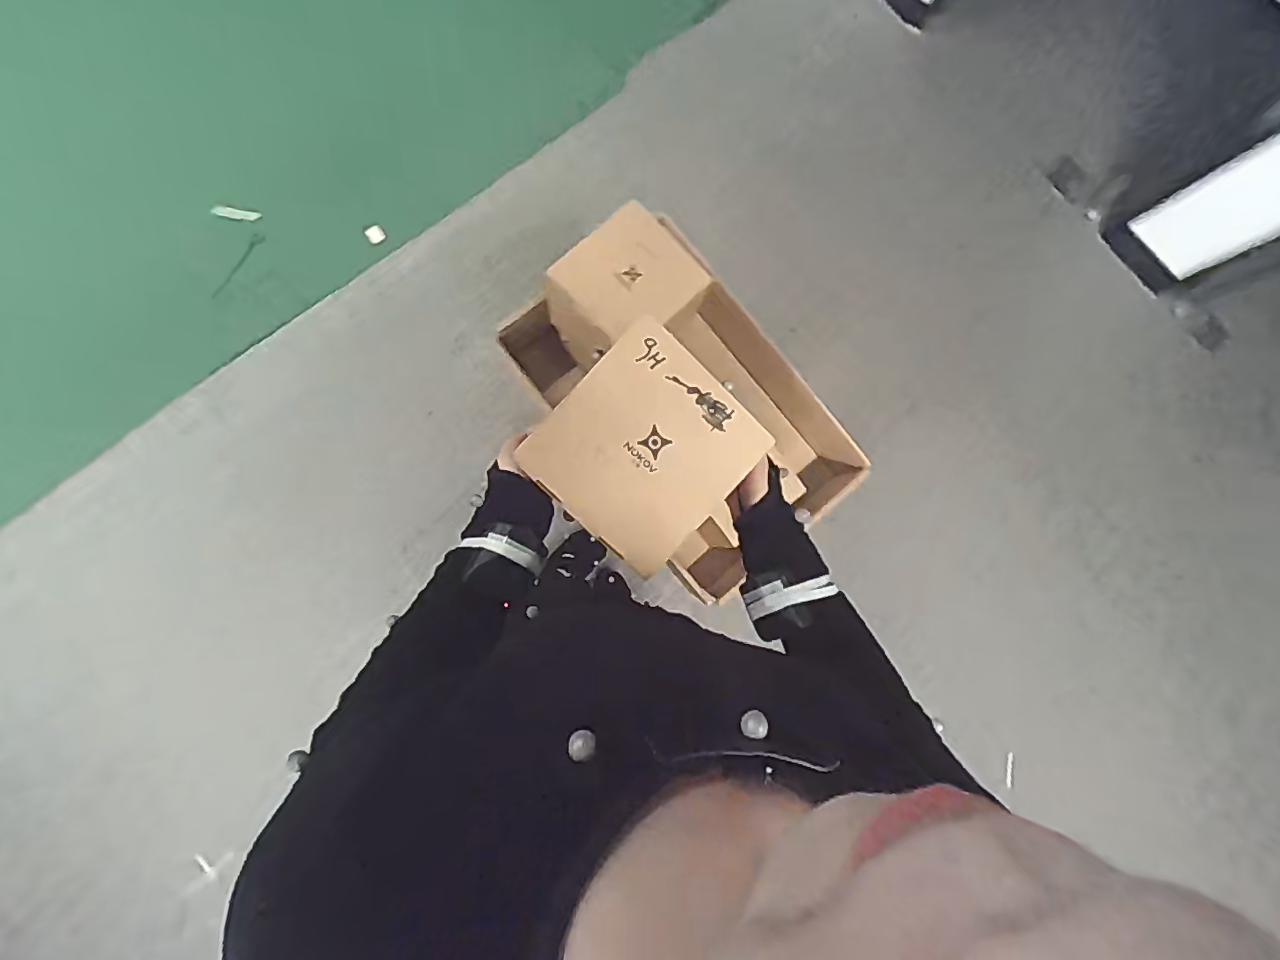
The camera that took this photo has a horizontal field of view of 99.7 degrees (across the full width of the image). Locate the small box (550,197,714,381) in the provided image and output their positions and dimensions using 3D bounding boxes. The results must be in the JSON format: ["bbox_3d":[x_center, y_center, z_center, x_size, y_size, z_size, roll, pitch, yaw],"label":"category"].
[{"bbox_3d":[-0.017,-0.280,0.835,0.179,0.176,0.168,-43,90,-9],"label":"small box"}]
